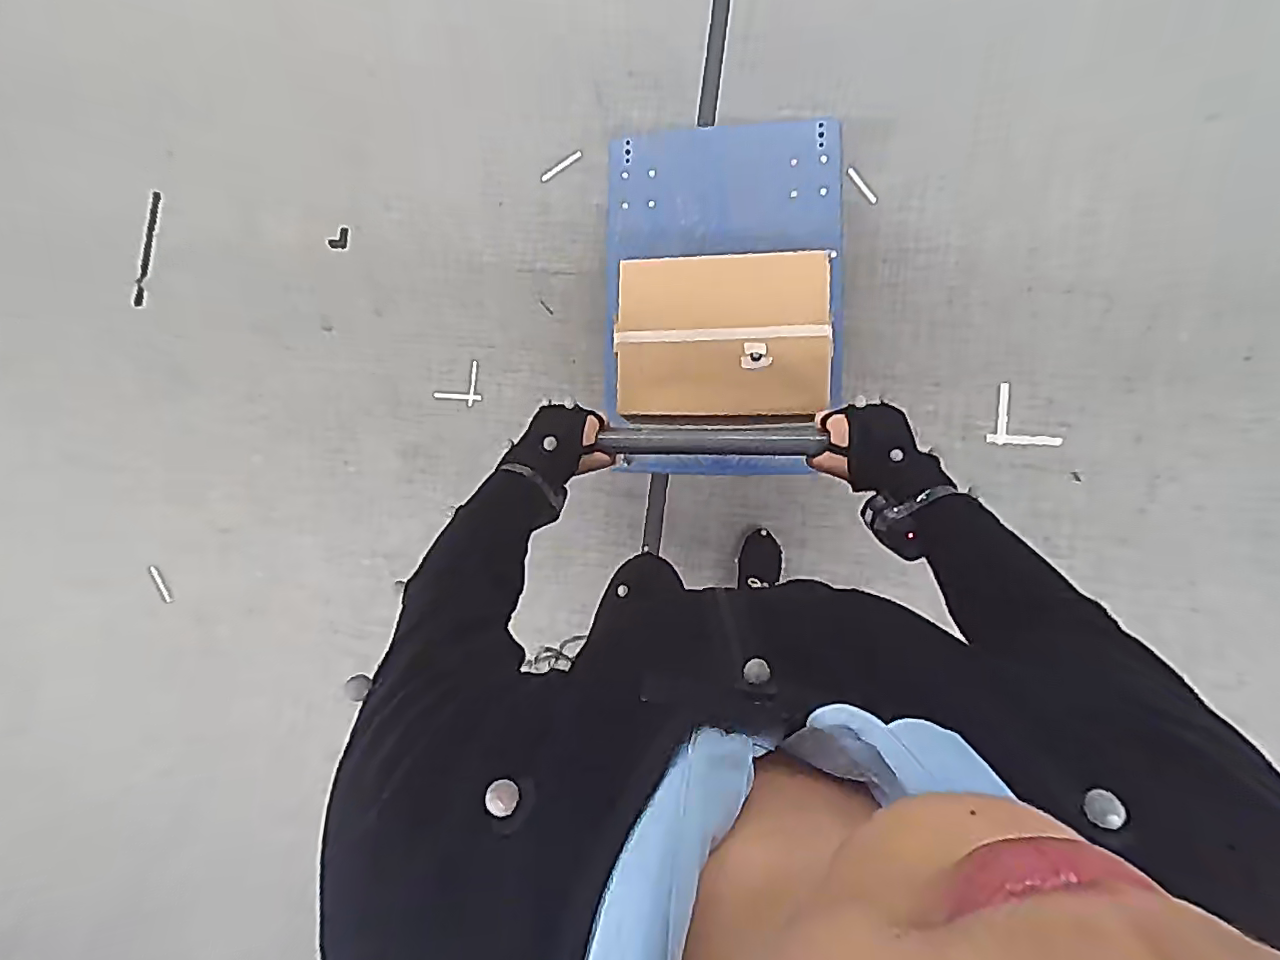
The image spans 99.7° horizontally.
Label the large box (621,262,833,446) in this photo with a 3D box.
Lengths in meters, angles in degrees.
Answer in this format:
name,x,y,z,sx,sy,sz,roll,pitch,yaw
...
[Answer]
name,x,y,z,sx,sy,sz,roll,pitch,yaw
large box,0.179,-0.247,1.176,0.408,0.320,0.320,1,88,8
